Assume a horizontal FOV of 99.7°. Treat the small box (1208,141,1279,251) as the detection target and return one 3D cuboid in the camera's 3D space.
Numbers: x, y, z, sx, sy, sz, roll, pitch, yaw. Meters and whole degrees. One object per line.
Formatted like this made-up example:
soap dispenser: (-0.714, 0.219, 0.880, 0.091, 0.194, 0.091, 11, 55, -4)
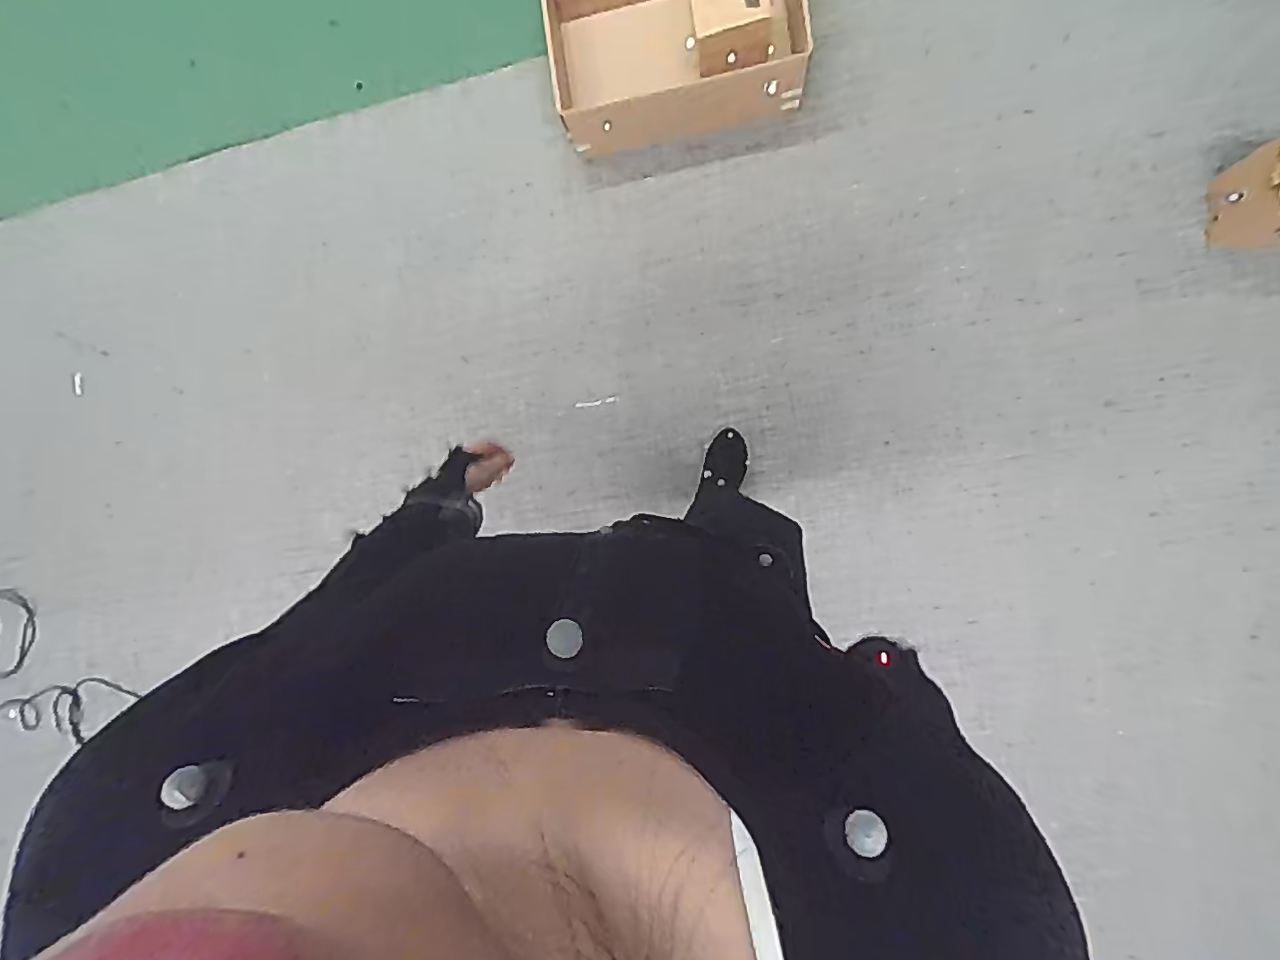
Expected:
small box: (1.406, -0.613, 1.178, 0.179, 0.176, 0.168, 3, 90, 9)
